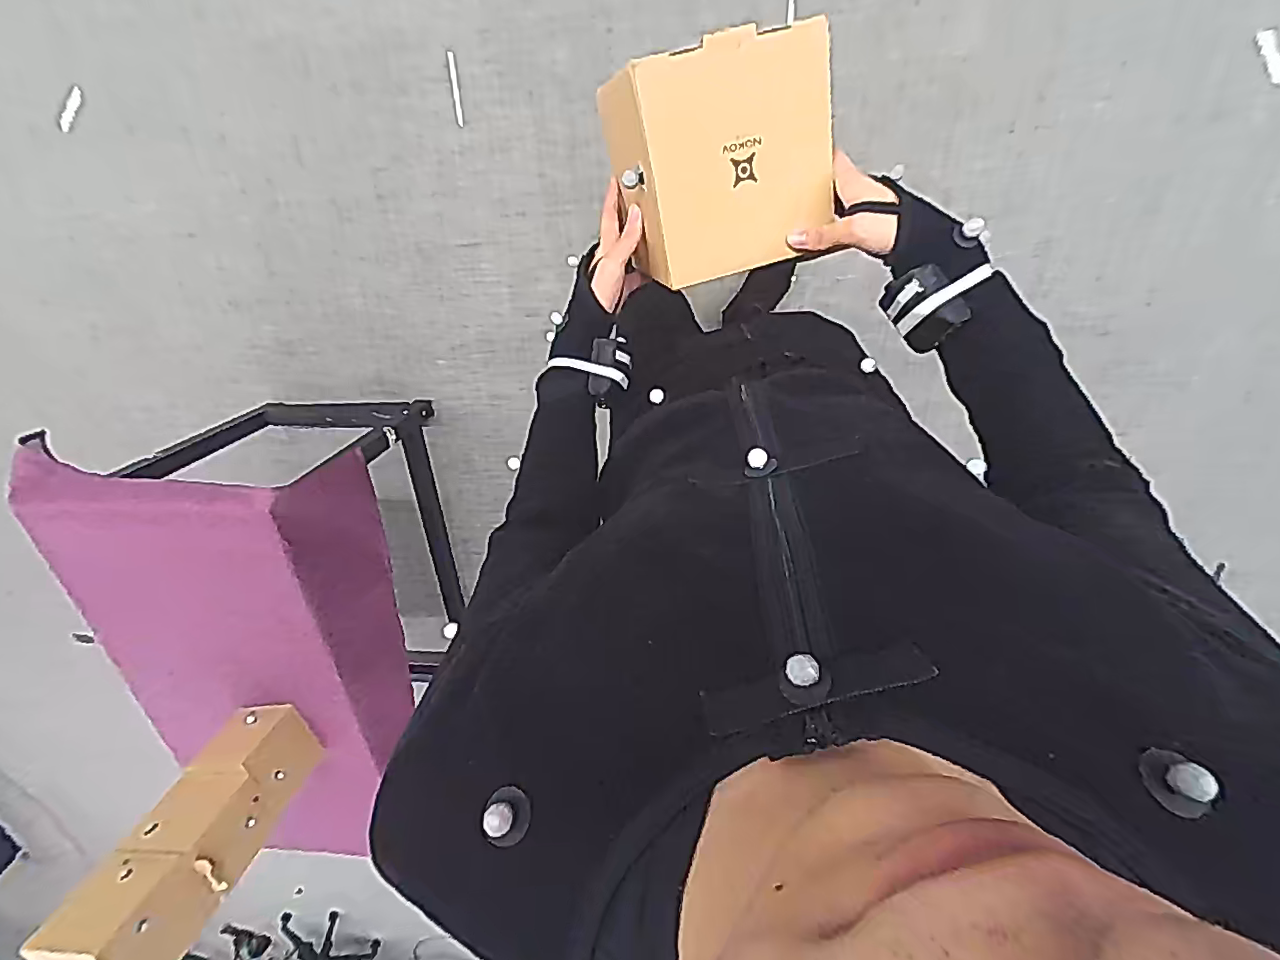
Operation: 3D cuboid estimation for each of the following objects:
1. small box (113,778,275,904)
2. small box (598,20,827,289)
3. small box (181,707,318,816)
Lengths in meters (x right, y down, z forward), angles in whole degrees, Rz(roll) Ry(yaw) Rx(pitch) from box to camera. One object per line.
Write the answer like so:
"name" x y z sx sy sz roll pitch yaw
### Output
"small box" -0.949 0.771 1.168 0.179 0.176 0.168 -4 117 9
"small box" 0.066 -0.308 0.533 0.168 0.176 0.179 -17 119 -5
"small box" -0.926 0.678 1.304 0.168 0.176 0.179 -9 115 11
